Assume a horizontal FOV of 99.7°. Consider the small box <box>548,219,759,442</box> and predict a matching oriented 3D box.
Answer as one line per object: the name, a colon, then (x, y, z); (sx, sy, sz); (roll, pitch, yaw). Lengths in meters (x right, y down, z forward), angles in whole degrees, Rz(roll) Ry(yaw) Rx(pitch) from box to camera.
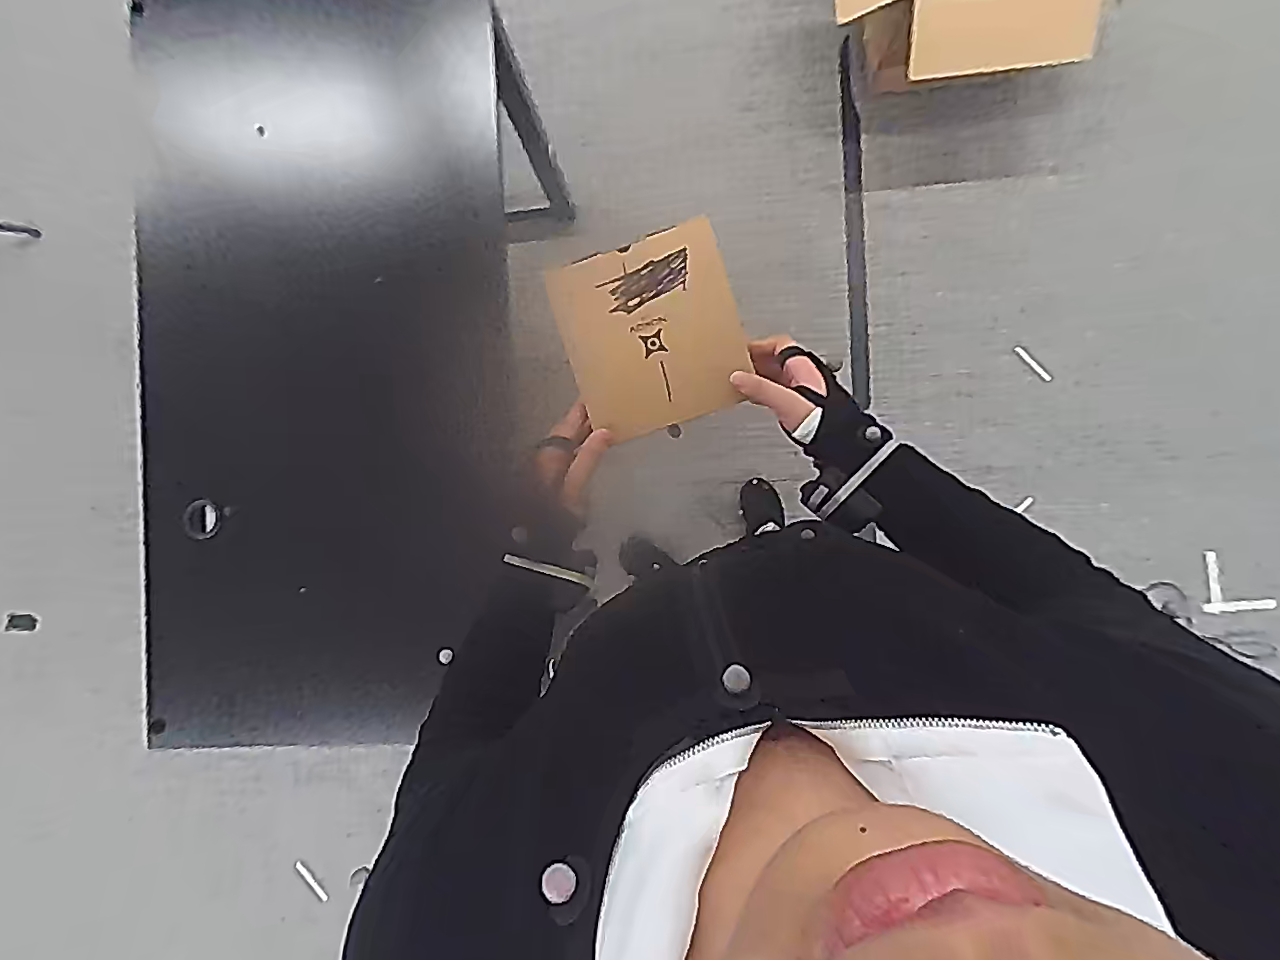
small box: (0.016, -0.148, 0.596); (0.168, 0.176, 0.179); (-18, 96, 5)
